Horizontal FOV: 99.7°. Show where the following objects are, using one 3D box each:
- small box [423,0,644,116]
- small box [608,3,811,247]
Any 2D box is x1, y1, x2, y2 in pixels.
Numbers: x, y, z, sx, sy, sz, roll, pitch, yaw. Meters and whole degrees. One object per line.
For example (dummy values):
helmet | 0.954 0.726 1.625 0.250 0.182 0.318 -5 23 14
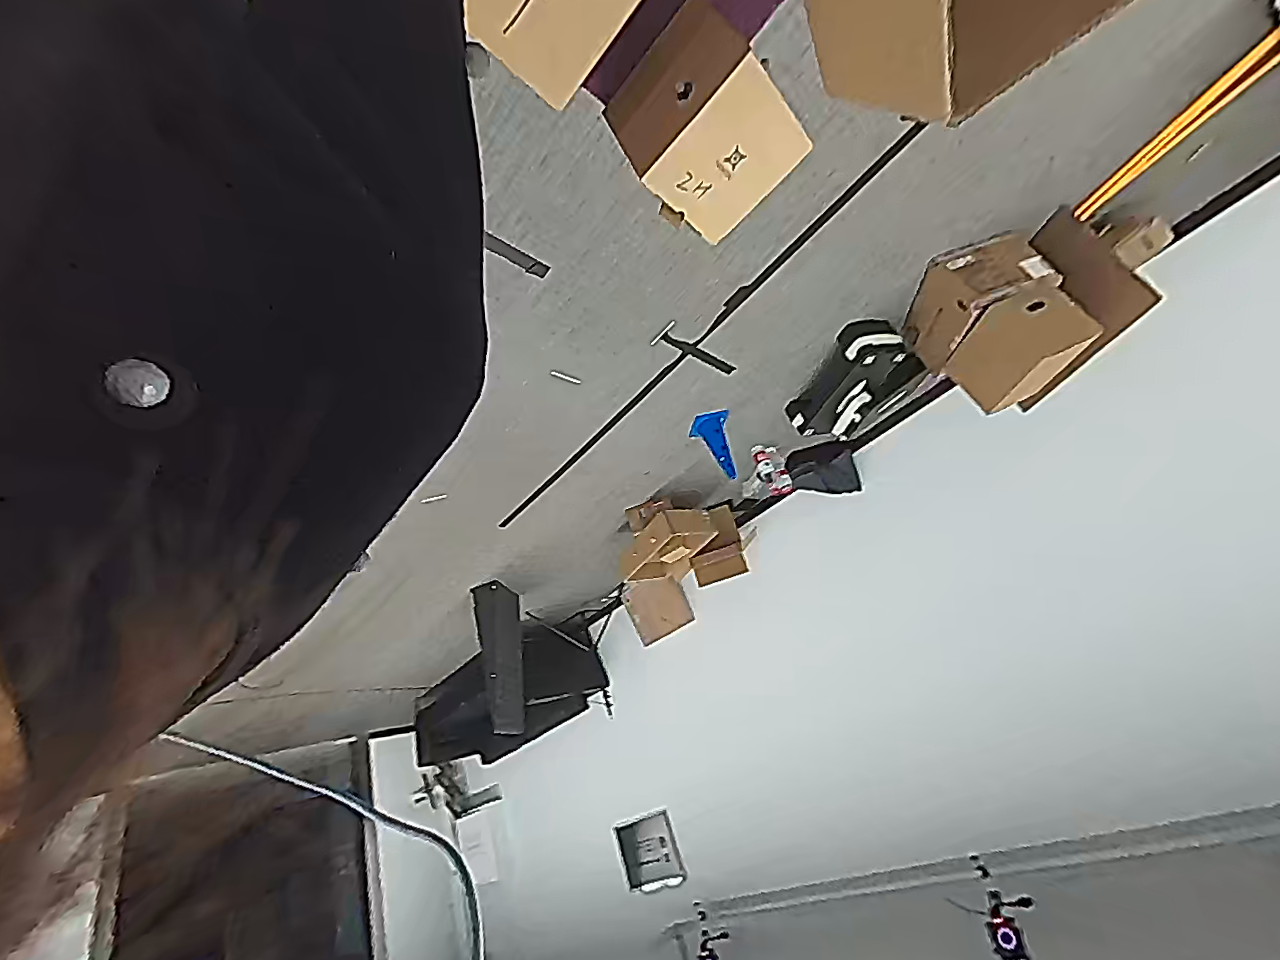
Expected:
small box | -0.105 -0.506 0.501 0.179 0.176 0.168 -38 148 30
small box | 0.084 -0.459 0.709 0.179 0.176 0.168 -38 147 28
